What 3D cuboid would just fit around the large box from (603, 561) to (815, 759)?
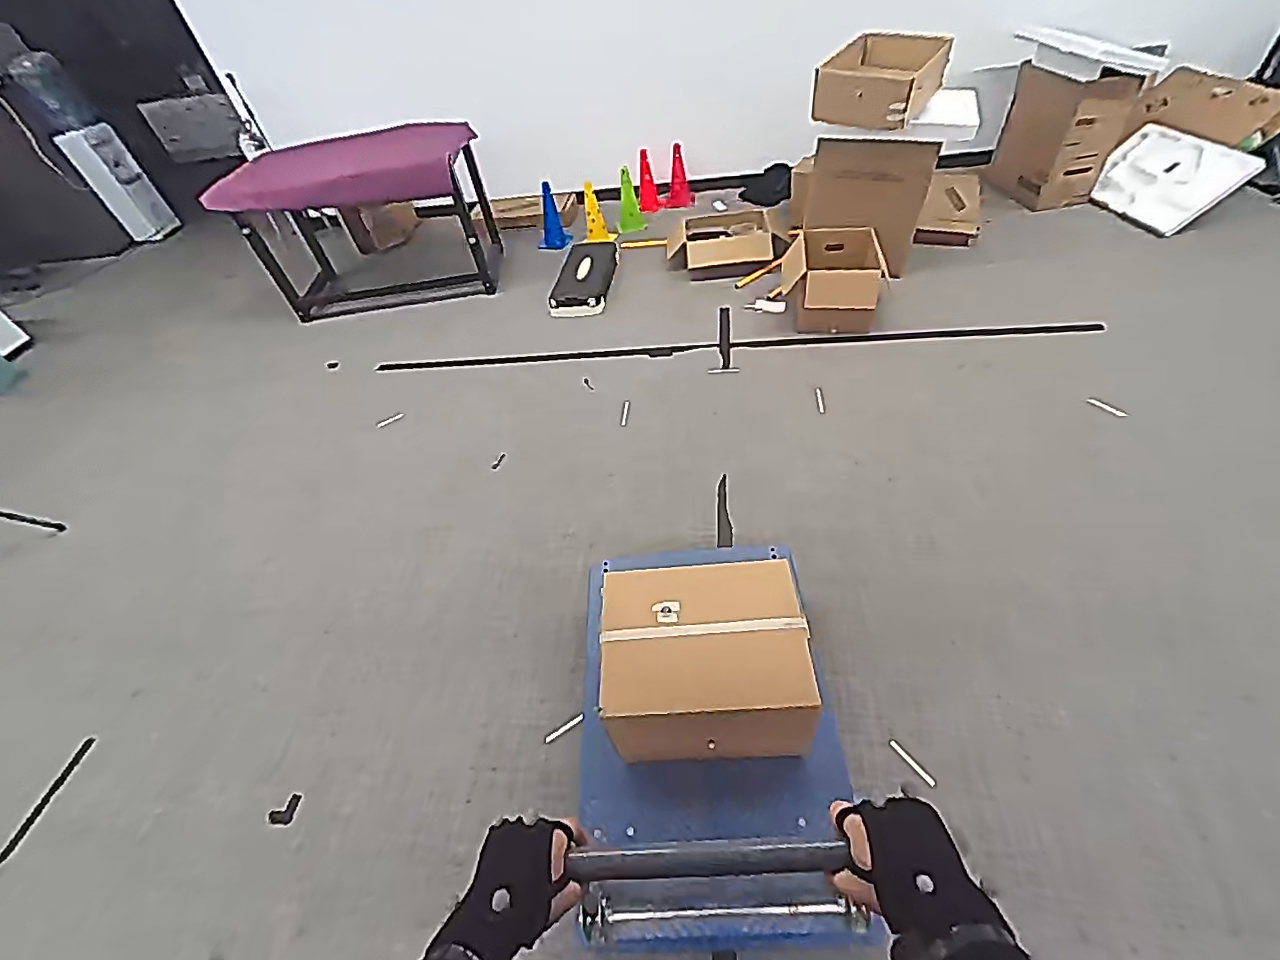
[{"bbox_3d":[0.144,0.411,1.213,0.408,0.320,0.320,-6,47,5],"label":"large box"}]
